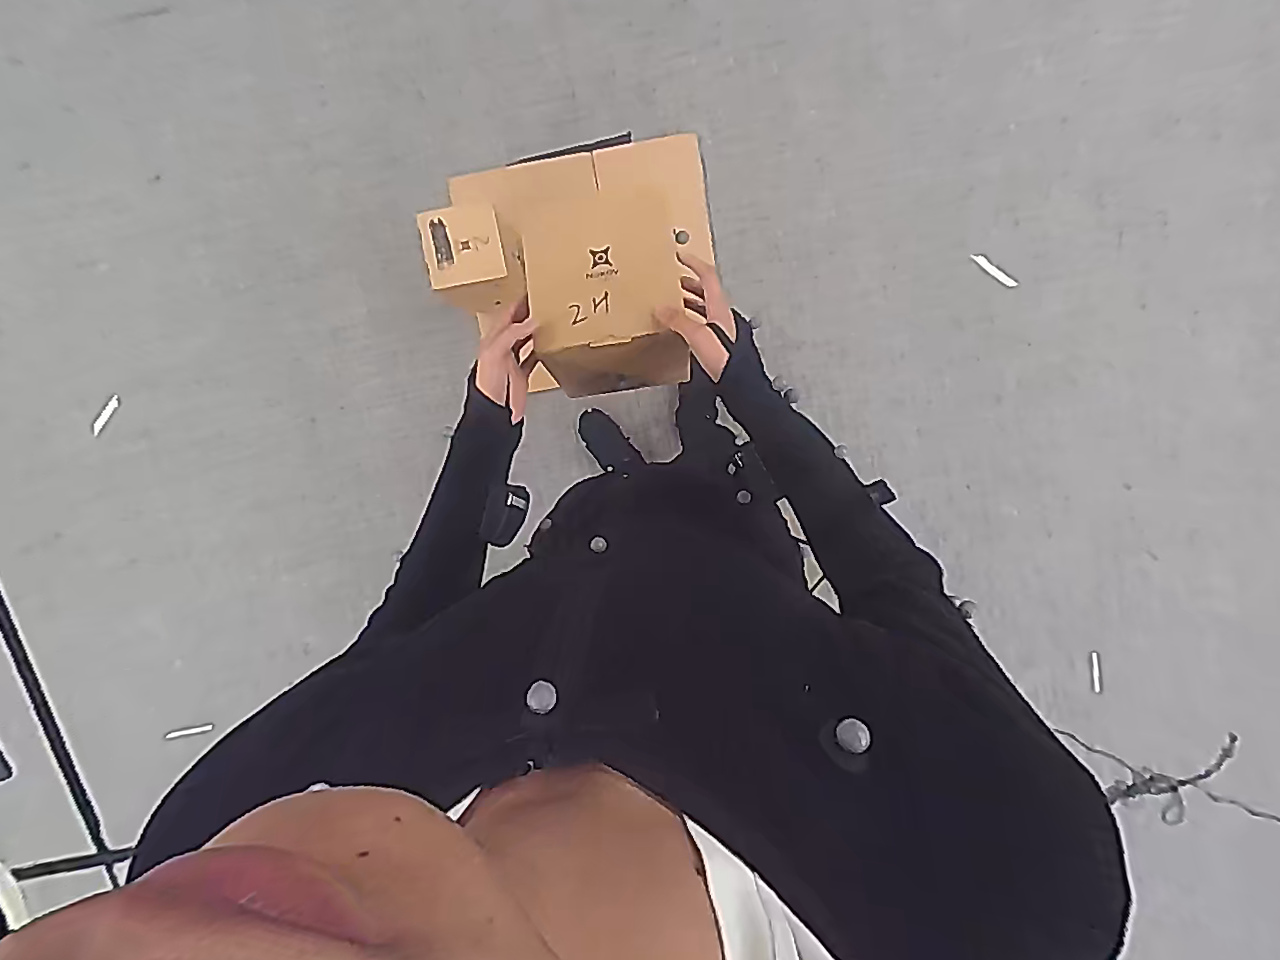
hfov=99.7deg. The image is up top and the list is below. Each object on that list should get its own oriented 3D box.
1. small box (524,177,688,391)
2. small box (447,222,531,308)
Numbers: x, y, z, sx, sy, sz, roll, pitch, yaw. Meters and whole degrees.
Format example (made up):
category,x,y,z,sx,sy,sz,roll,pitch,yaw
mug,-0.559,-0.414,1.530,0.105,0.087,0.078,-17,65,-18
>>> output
category,x,y,z,sx,sy,sz,roll,pitch,yaw
small box,-0.033,-0.224,0.658,0.168,0.176,0.179,-7,82,5
small box,-0.385,-0.565,1.438,0.179,0.176,0.168,-10,99,2
